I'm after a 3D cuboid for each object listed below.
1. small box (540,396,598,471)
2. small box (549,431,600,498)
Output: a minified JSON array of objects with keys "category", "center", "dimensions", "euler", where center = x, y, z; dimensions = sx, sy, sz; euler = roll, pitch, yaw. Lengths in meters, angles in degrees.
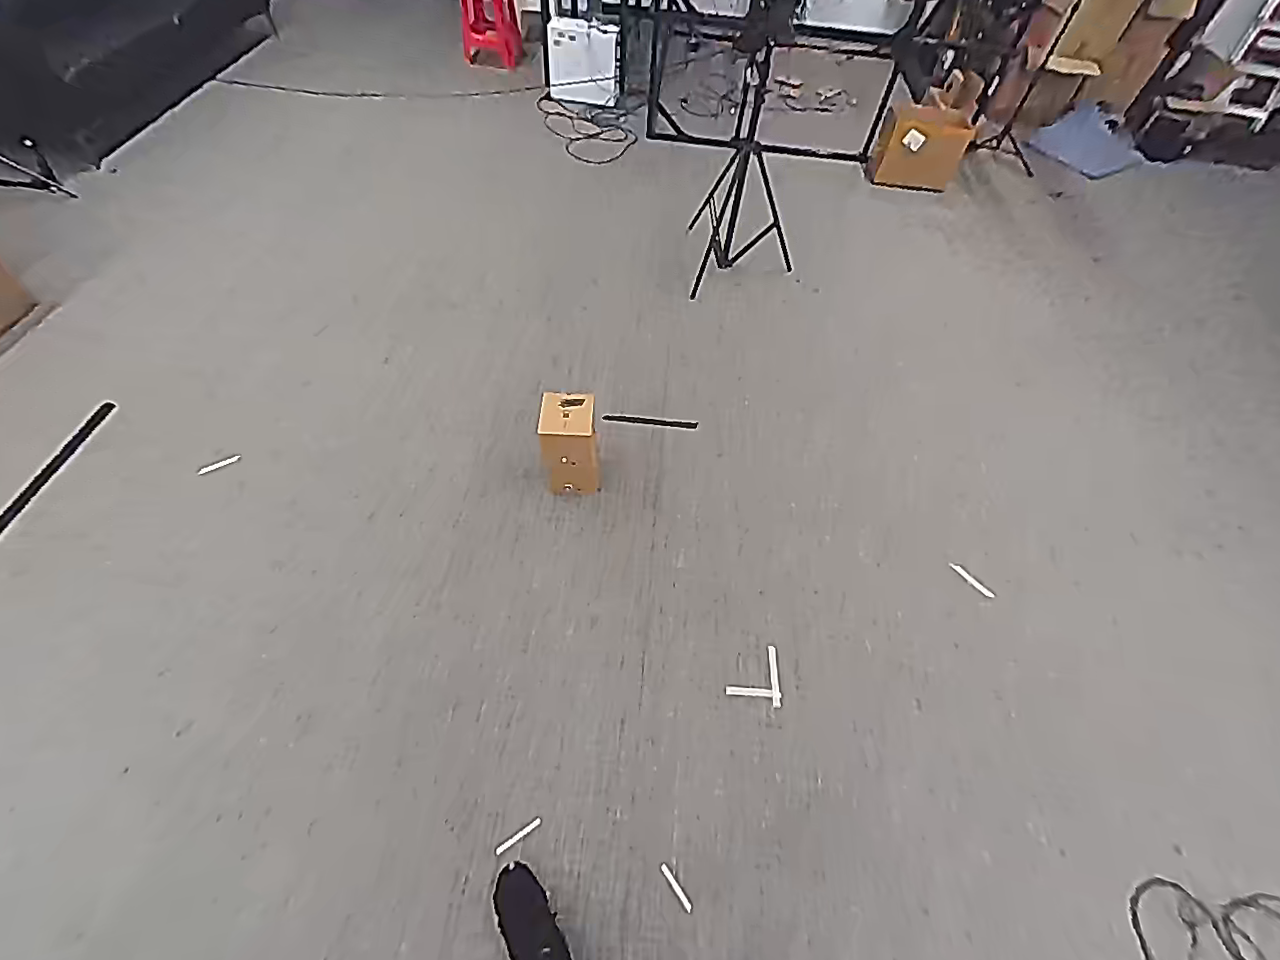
[{"category":"small box","center":[-0.225,-0.150,1.757],"dimensions":[0.168,0.176,0.179],"euler":[2,55,-2]},{"category":"small box","center":[-0.227,-0.058,1.893],"dimensions":[0.168,0.176,0.179],"euler":[1,55,-3]}]
